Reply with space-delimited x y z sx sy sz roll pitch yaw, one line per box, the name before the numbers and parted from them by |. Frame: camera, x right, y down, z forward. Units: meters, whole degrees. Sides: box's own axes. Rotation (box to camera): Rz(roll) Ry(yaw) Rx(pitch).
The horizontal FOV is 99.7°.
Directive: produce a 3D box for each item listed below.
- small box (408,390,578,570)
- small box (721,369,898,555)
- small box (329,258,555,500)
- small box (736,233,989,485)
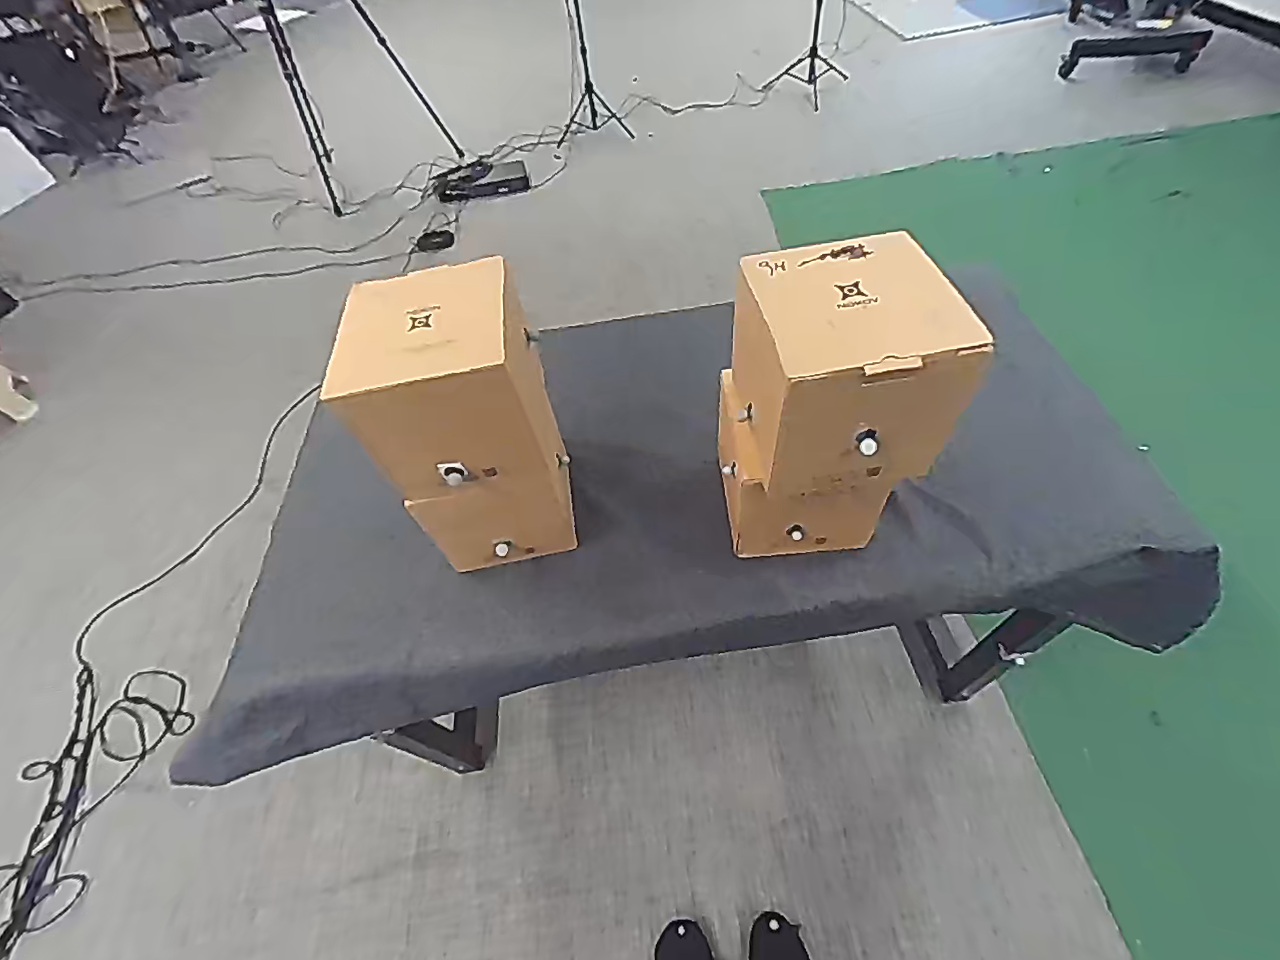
small box | -0.183 -0.007 0.713 0.168 0.176 0.179 -11 53 -1
small box | 0.195 -0.026 0.679 0.168 0.176 0.179 -6 53 3
small box | -0.195 -0.105 0.583 0.168 0.176 0.179 -12 54 0
small box | 0.194 -0.109 0.537 0.168 0.176 0.179 -9 54 1
